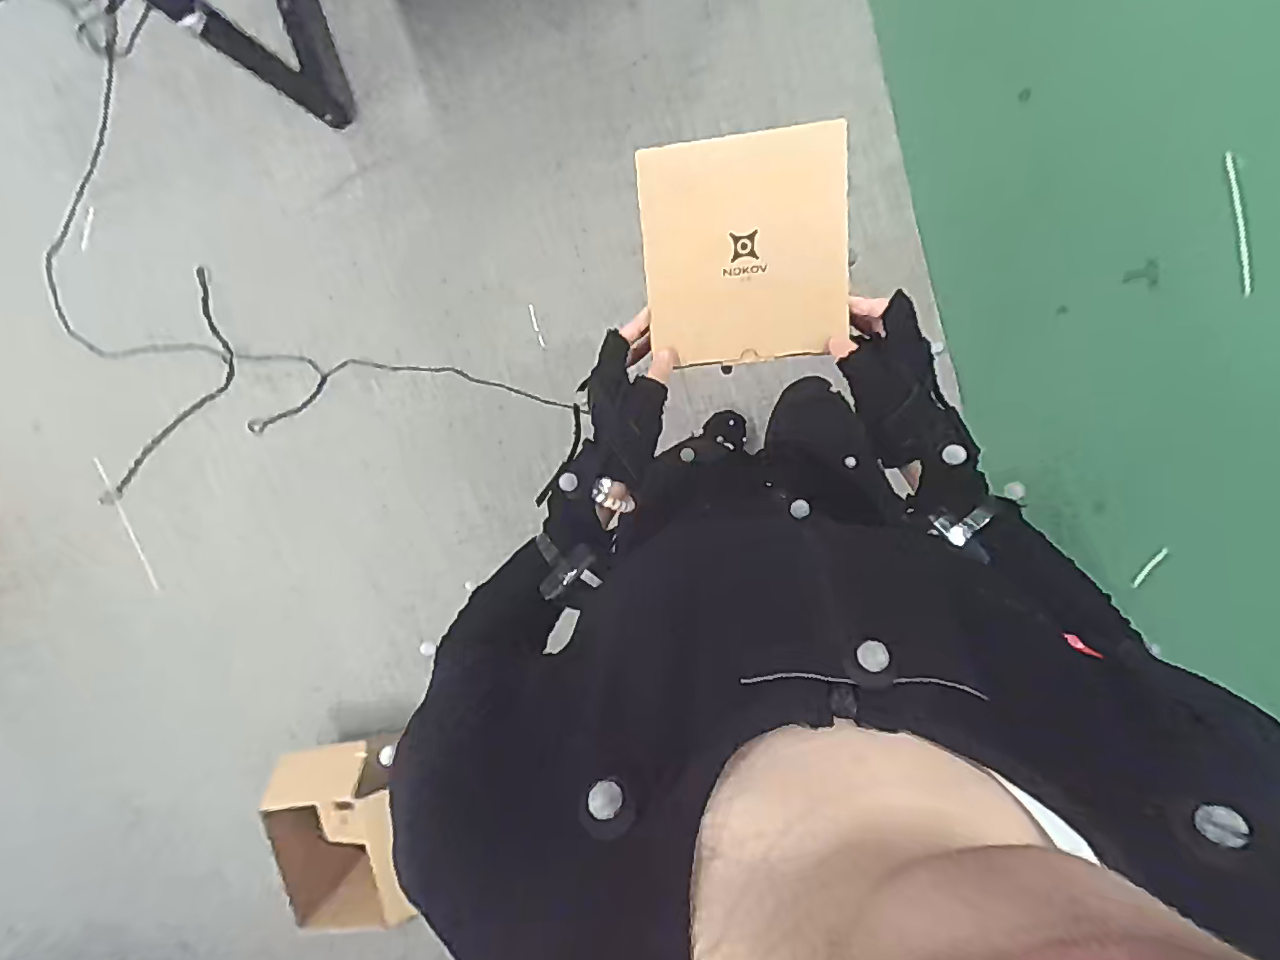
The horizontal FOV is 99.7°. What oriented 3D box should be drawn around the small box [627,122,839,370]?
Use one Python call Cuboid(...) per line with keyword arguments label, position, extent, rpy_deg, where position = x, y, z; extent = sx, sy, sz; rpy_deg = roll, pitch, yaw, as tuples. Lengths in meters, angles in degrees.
Cuboid(label="small box", position=(0.084, -0.203, 0.518), extent=(0.168, 0.176, 0.179), rpy_deg=(-5, 103, 7))
